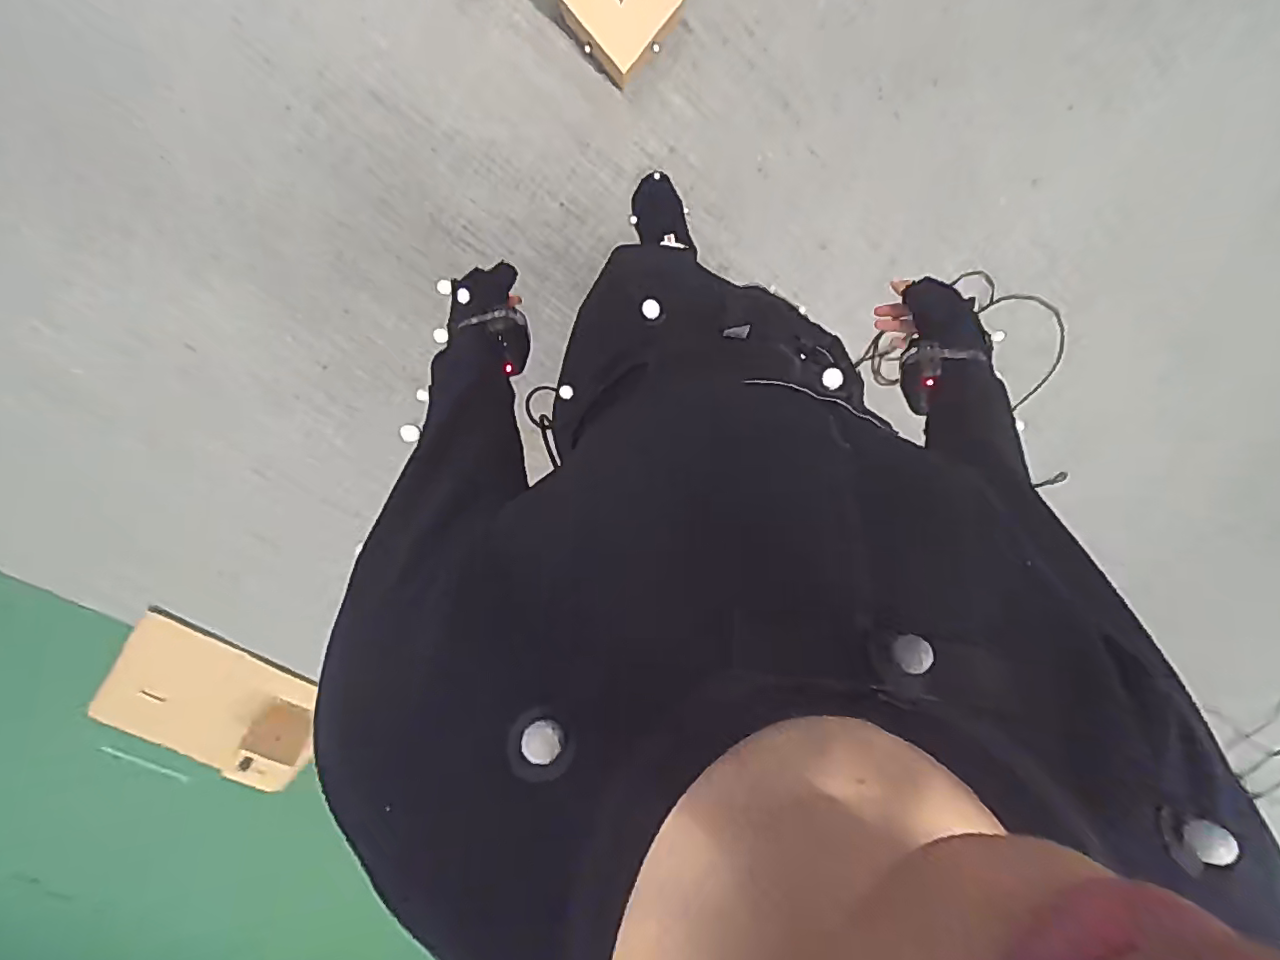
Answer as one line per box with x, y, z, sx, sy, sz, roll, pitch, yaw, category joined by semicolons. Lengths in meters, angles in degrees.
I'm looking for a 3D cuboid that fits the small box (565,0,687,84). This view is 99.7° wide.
-0.022;-0.884;1.001;0.168;0.176;0.179;41;109;-20;small box
